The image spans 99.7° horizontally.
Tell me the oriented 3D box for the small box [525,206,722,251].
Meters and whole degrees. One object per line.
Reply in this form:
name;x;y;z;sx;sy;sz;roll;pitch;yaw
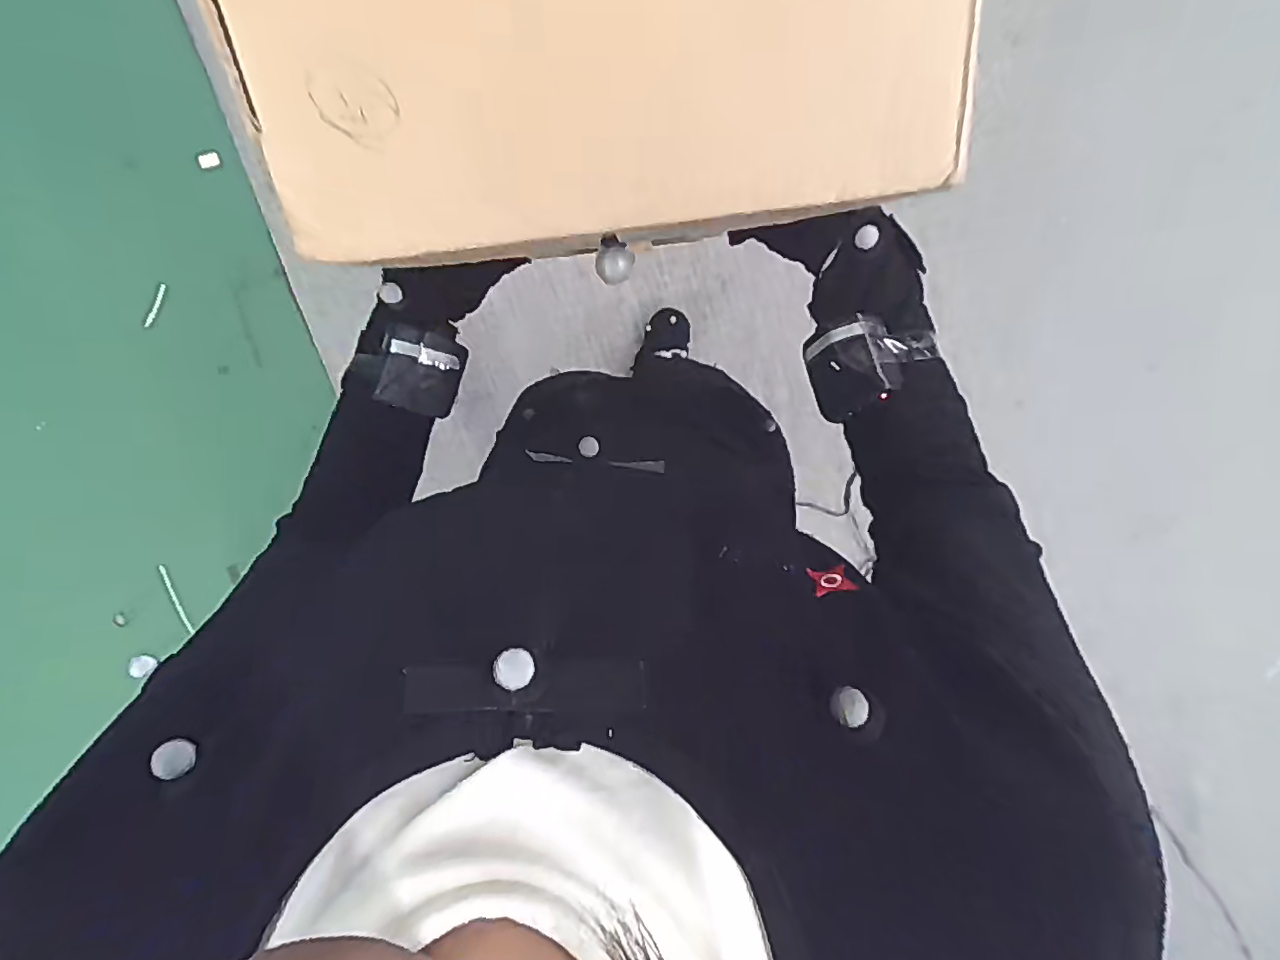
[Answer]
small box;-0.022;-0.311;0.480;0.168;0.176;0.179;-7;114;4

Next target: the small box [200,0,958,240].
small box;-0.020;-0.180;0.181;0.179;0.176;0.168;-7;114;3
